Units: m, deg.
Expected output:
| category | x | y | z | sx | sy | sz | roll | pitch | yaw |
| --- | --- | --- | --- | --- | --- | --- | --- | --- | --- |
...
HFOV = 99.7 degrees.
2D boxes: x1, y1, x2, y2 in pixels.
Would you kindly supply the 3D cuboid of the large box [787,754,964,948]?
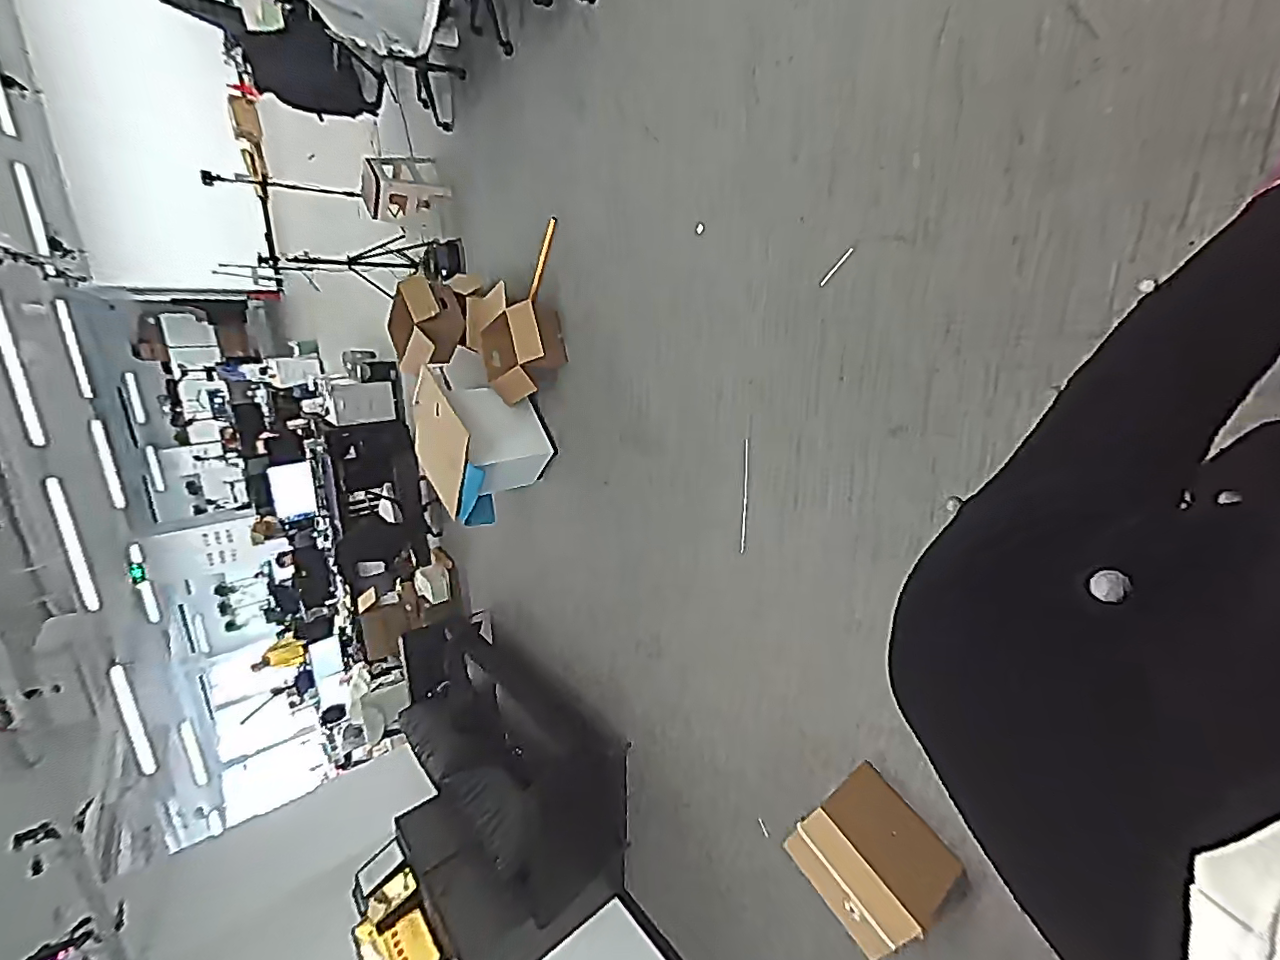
| category | x | y | z | sx | sy | sz | roll | pitch | yaw |
| --- | --- | --- | --- | --- | --- | --- | --- | --- | --- |
| large box | 0.803 | 1.264 | 1.876 | 0.408 | 0.320 | 0.320 | 44 | 133 | 33 |
